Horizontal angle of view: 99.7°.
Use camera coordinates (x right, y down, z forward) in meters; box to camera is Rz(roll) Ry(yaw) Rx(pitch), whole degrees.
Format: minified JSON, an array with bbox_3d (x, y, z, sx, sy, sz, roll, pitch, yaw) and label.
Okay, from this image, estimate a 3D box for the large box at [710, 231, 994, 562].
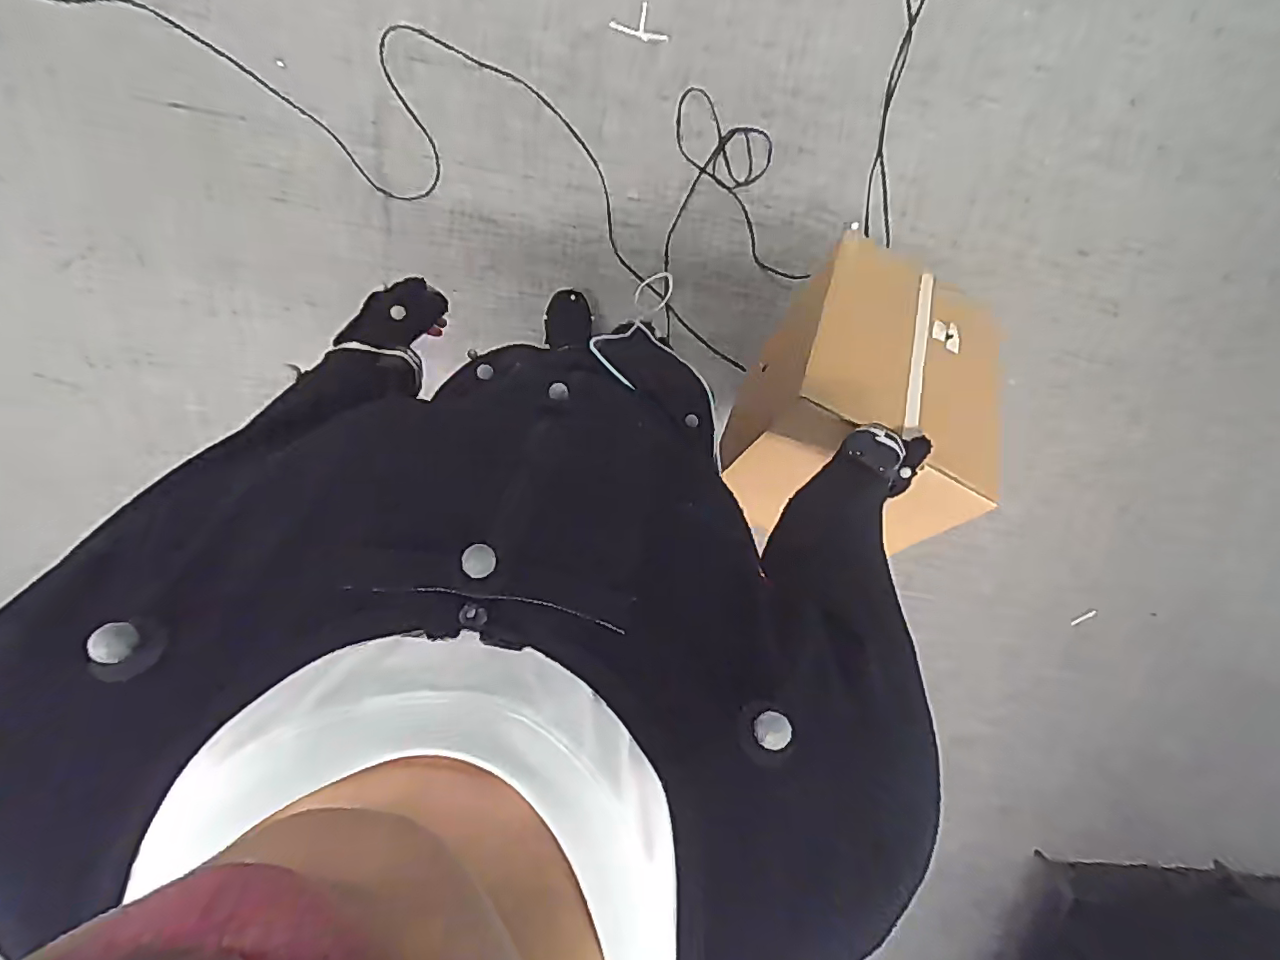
[{"bbox_3d":[0.361,-0.129,0.939,0.320,0.320,0.408,28,59,-6],"label":"large box"}]
